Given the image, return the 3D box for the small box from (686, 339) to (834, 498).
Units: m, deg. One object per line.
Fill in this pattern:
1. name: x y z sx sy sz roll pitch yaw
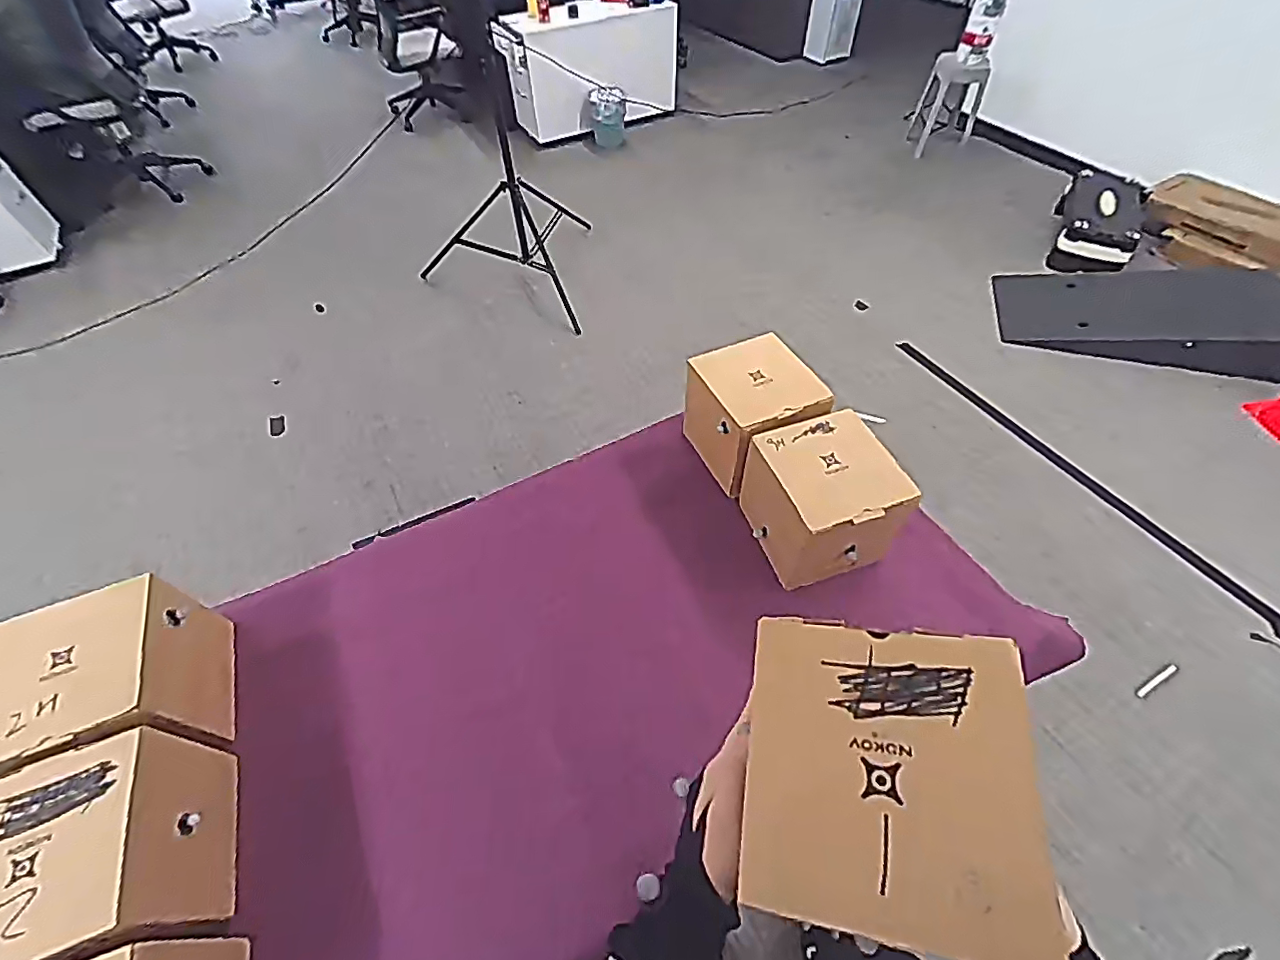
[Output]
1. small box: 0.185 -0.102 0.904 0.168 0.176 0.179 -20 54 -14

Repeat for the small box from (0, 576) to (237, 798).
1. small box: -0.624 0.251 0.652 0.168 0.176 0.179 -20 56 -13

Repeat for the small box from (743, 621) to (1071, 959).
1. small box: 0.174 0.223 0.398 0.168 0.176 0.179 -1 57 20
